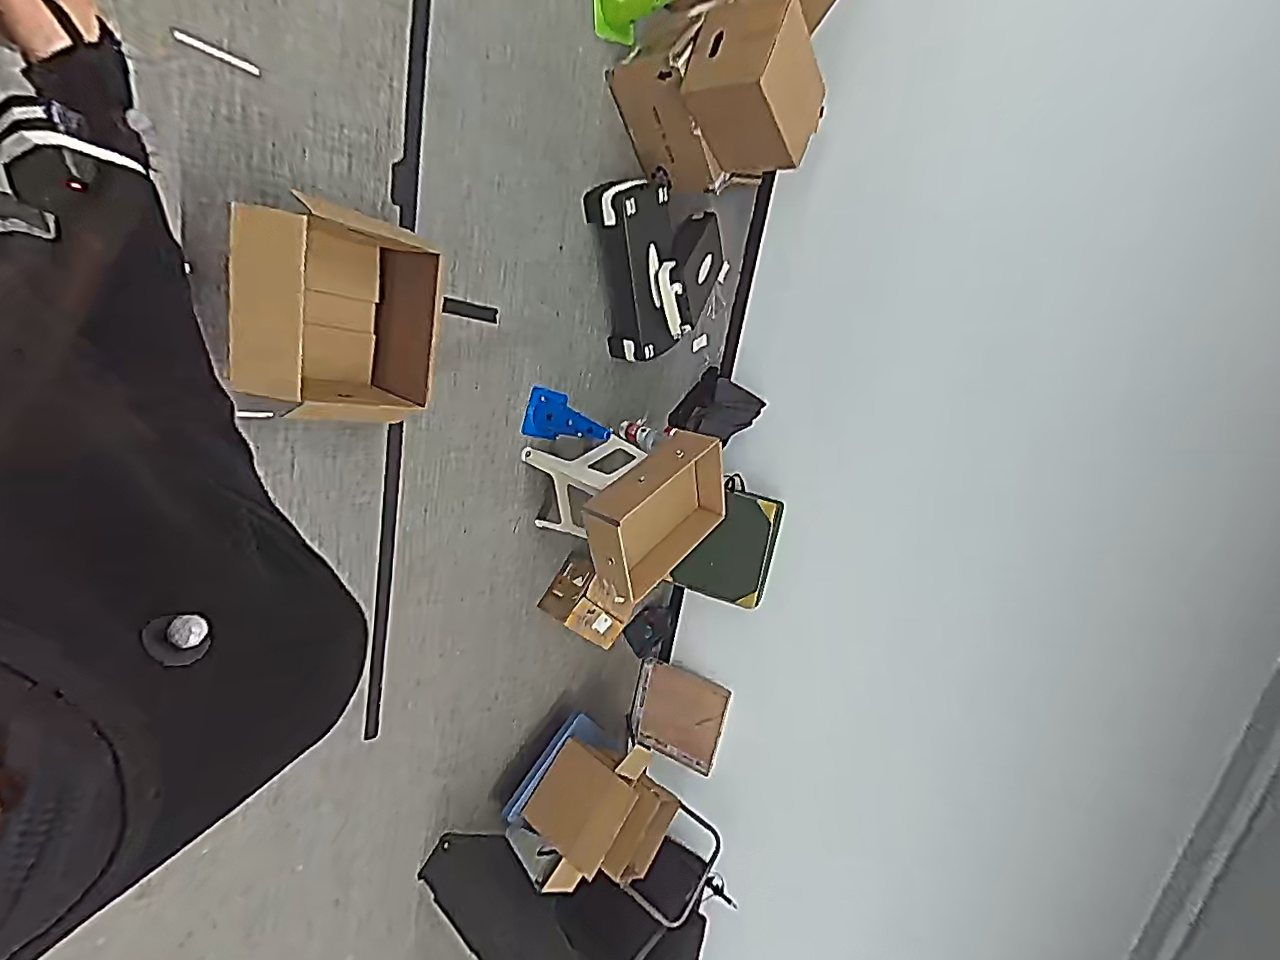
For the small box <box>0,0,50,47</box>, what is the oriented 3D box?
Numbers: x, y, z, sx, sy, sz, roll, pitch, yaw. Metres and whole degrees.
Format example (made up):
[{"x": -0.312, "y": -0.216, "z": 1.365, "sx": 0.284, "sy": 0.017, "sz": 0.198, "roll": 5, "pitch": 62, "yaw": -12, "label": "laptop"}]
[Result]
[{"x": -0.566, "y": -0.472, "z": 0.401, "sx": 0.168, "sy": 0.176, "sz": 0.179, "roll": 5, "pitch": 105, "yaw": -57, "label": "small box"}]
